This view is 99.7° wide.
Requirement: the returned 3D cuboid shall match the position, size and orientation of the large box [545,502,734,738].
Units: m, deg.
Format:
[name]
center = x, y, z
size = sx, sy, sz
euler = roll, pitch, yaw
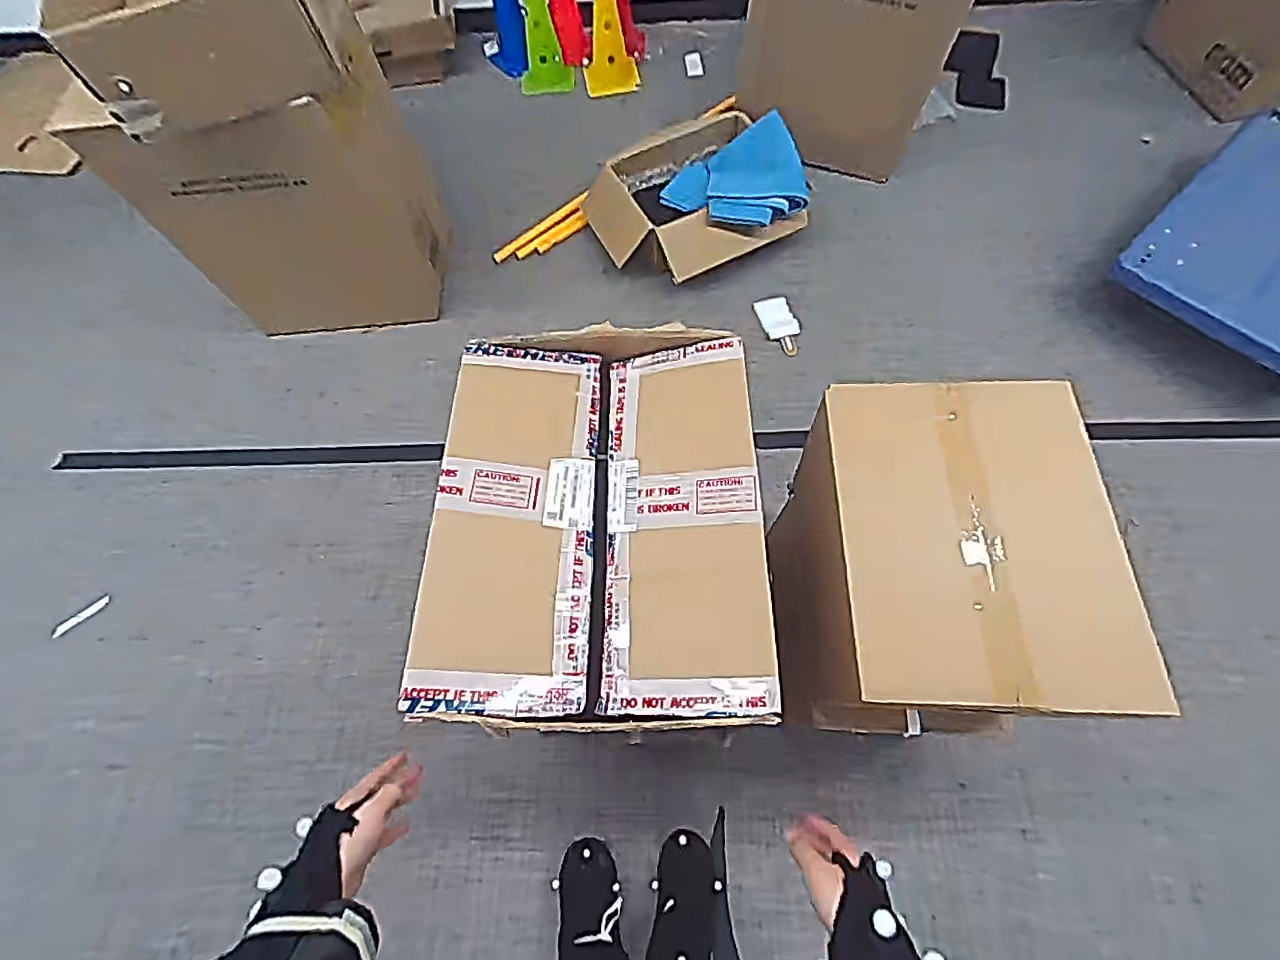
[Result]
[large box]
center = -0.001, 0.286, 1.079
size = 0.320, 0.320, 0.408
euler = -2, 66, 3
